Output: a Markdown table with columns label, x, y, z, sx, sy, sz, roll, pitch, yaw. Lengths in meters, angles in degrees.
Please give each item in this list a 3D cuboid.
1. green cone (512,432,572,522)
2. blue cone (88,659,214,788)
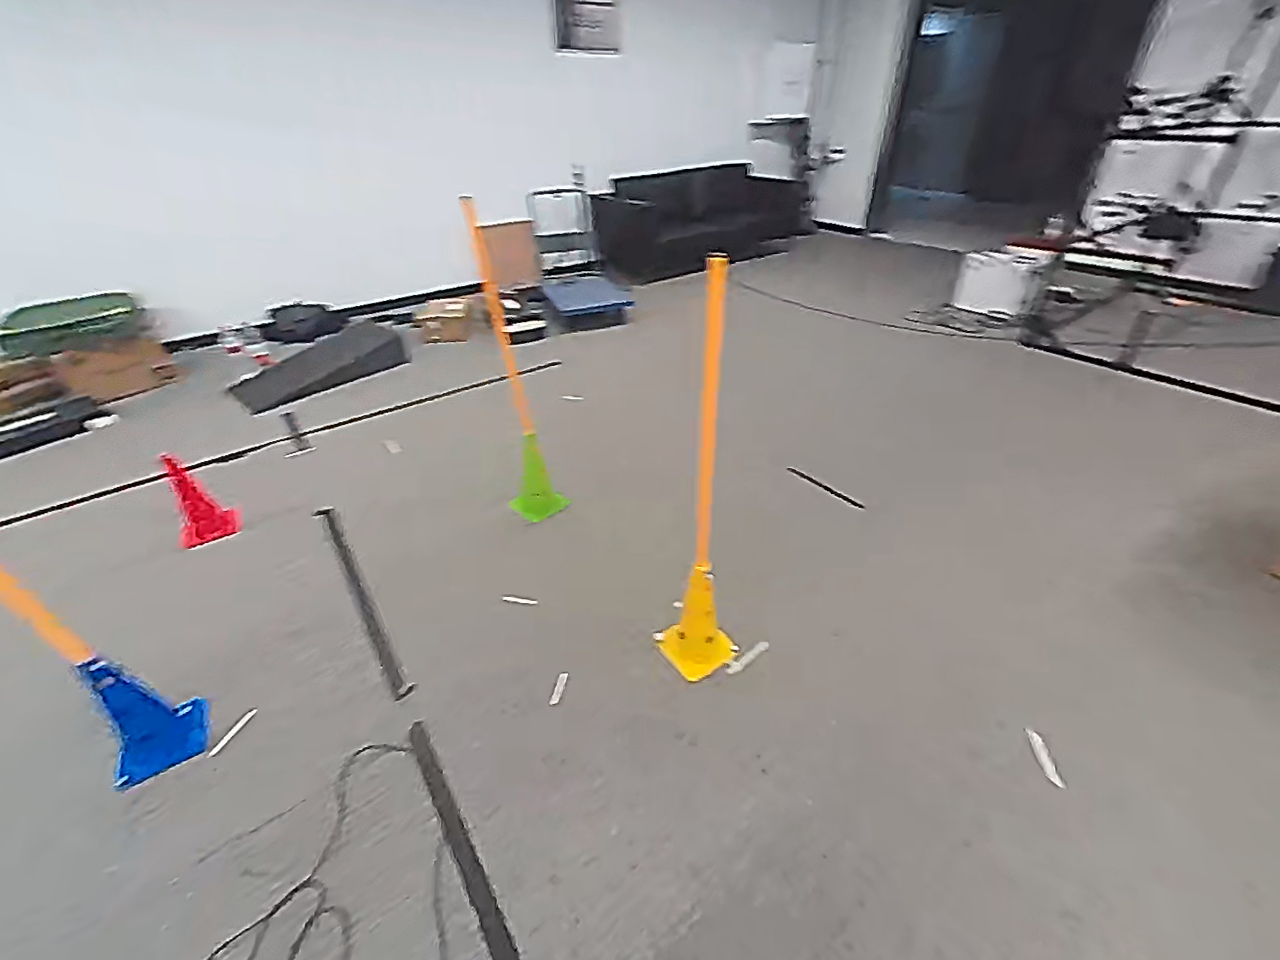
| label | x | y | z | sx | sy | sz | roll | pitch | yaw |
| --- | --- | --- | --- | --- | --- | --- | --- | --- | --- |
| green cone | -0.425 | -0.037 | 2.246 | 0.202 | 0.368 | 0.200 | 29 | 45 | 34 |
| blue cone | -1.290 | 0.587 | 1.393 | 0.193 | 0.380 | 0.192 | -22 | 40 | -26 |
